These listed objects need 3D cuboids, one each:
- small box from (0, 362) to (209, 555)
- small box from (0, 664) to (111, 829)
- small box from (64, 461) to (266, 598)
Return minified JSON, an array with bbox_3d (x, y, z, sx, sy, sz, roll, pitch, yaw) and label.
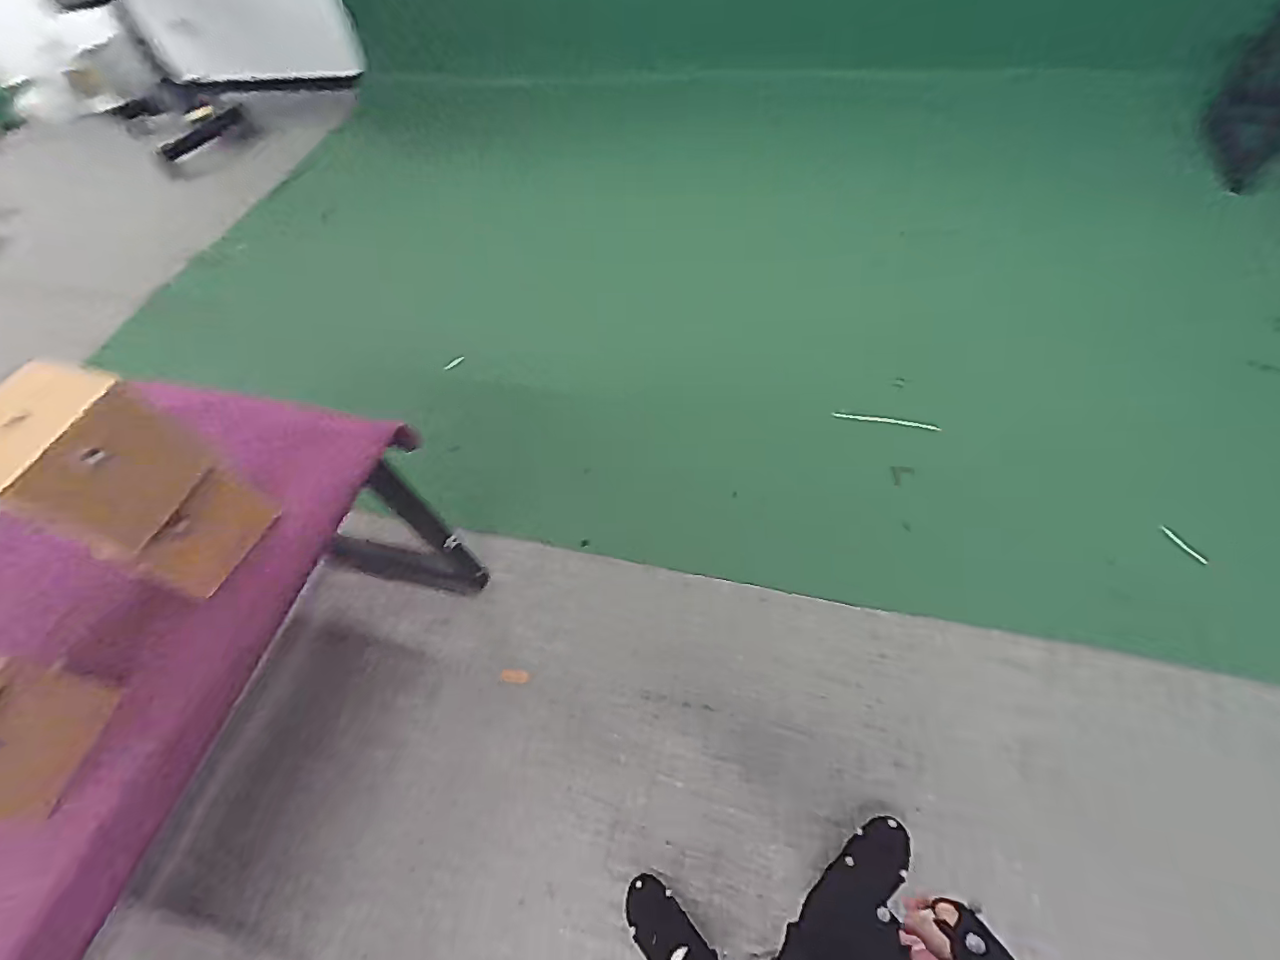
[{"bbox_3d":[-0.731,-0.024,0.706,0.168,0.176,0.179,13,61,16],"label":"small box"},{"bbox_3d":[-0.857,0.332,0.690,0.168,0.176,0.179,4,57,10],"label":"small box"},{"bbox_3d":[-0.739,0.057,0.851,0.168,0.176,0.179,18,63,19],"label":"small box"}]
